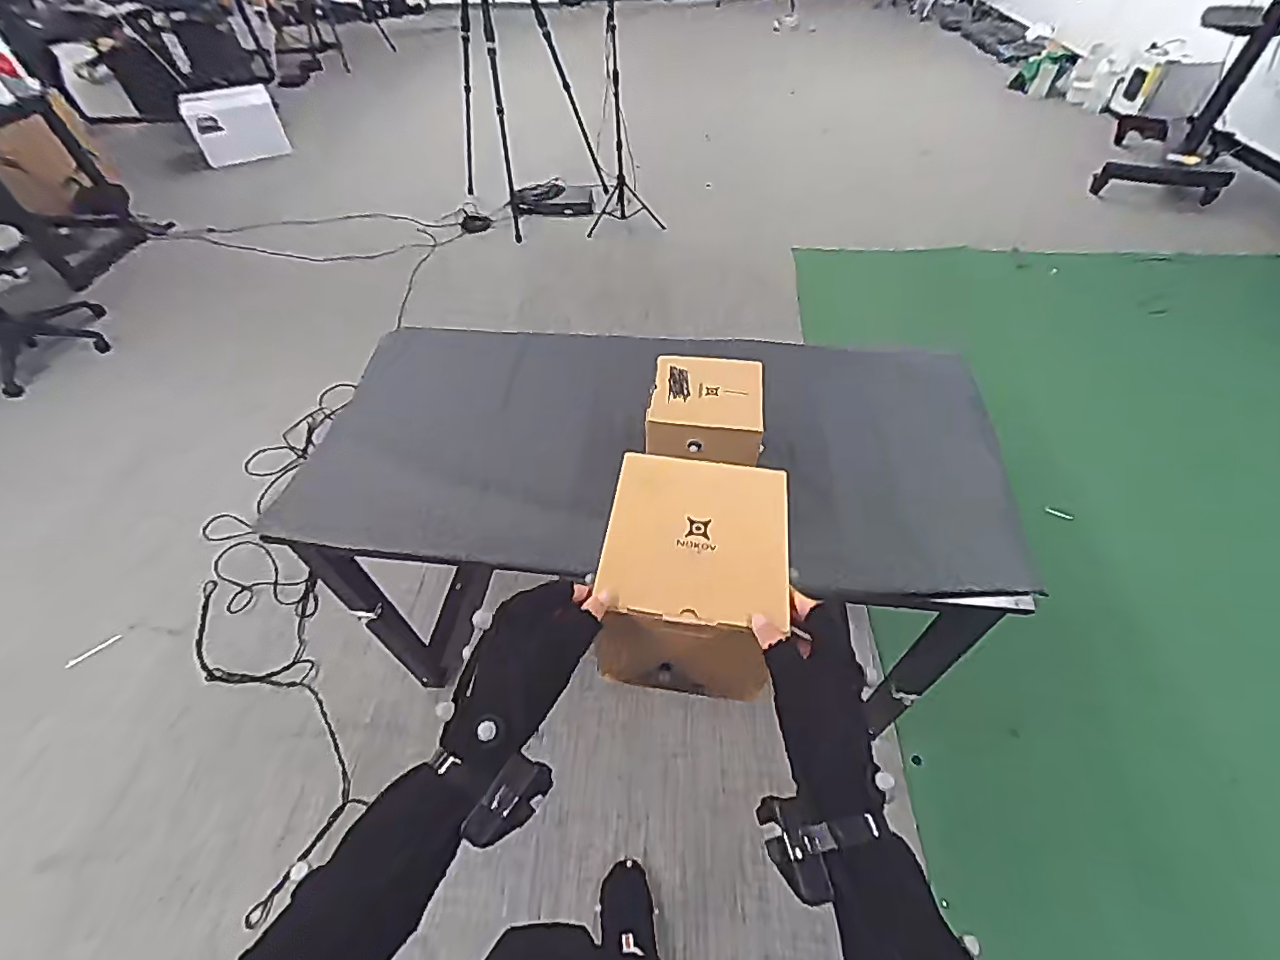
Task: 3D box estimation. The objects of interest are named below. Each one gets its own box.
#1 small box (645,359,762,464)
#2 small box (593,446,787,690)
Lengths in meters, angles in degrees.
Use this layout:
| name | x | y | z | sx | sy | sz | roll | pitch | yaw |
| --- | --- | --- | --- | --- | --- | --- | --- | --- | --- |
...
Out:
| name | x | y | z | sx | sy | sz | roll | pitch | yaw |
| --- | --- | --- | --- | --- | --- | --- | --- | --- | --- |
| small box | 0.107 | -0.084 | 0.915 | 0.179 | 0.176 | 0.168 | 6 | 50 | 6 |
| small box | 0.050 | 0.092 | 0.558 | 0.168 | 0.176 | 0.179 | 7 | 52 | 5 |
